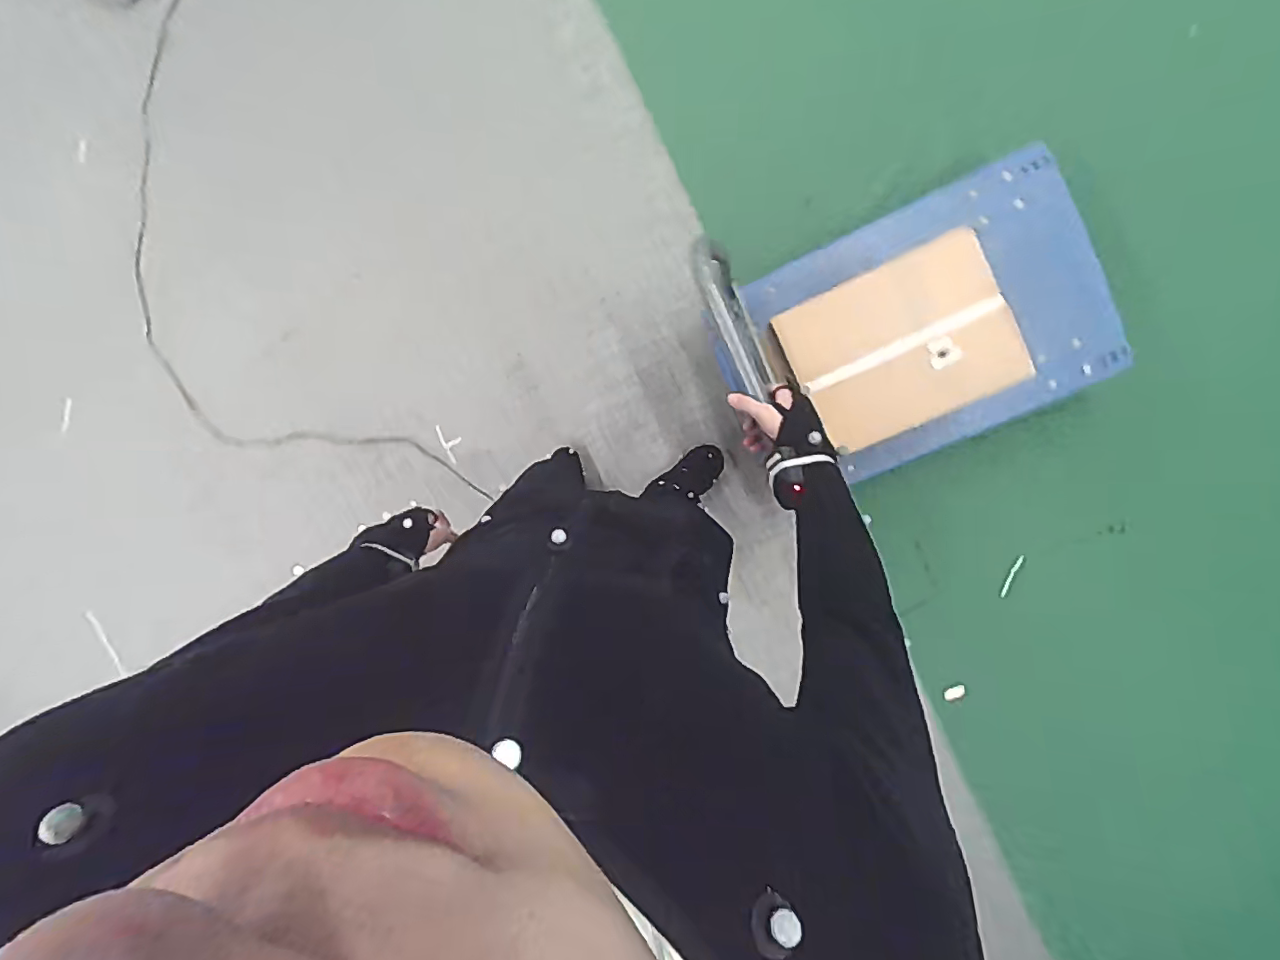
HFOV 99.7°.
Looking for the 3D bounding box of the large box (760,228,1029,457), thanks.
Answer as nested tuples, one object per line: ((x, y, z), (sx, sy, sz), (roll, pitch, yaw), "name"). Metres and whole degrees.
((0.522, -0.273, 1.201), (0.408, 0.320, 0.320), (-23, 92, 9), "large box")
